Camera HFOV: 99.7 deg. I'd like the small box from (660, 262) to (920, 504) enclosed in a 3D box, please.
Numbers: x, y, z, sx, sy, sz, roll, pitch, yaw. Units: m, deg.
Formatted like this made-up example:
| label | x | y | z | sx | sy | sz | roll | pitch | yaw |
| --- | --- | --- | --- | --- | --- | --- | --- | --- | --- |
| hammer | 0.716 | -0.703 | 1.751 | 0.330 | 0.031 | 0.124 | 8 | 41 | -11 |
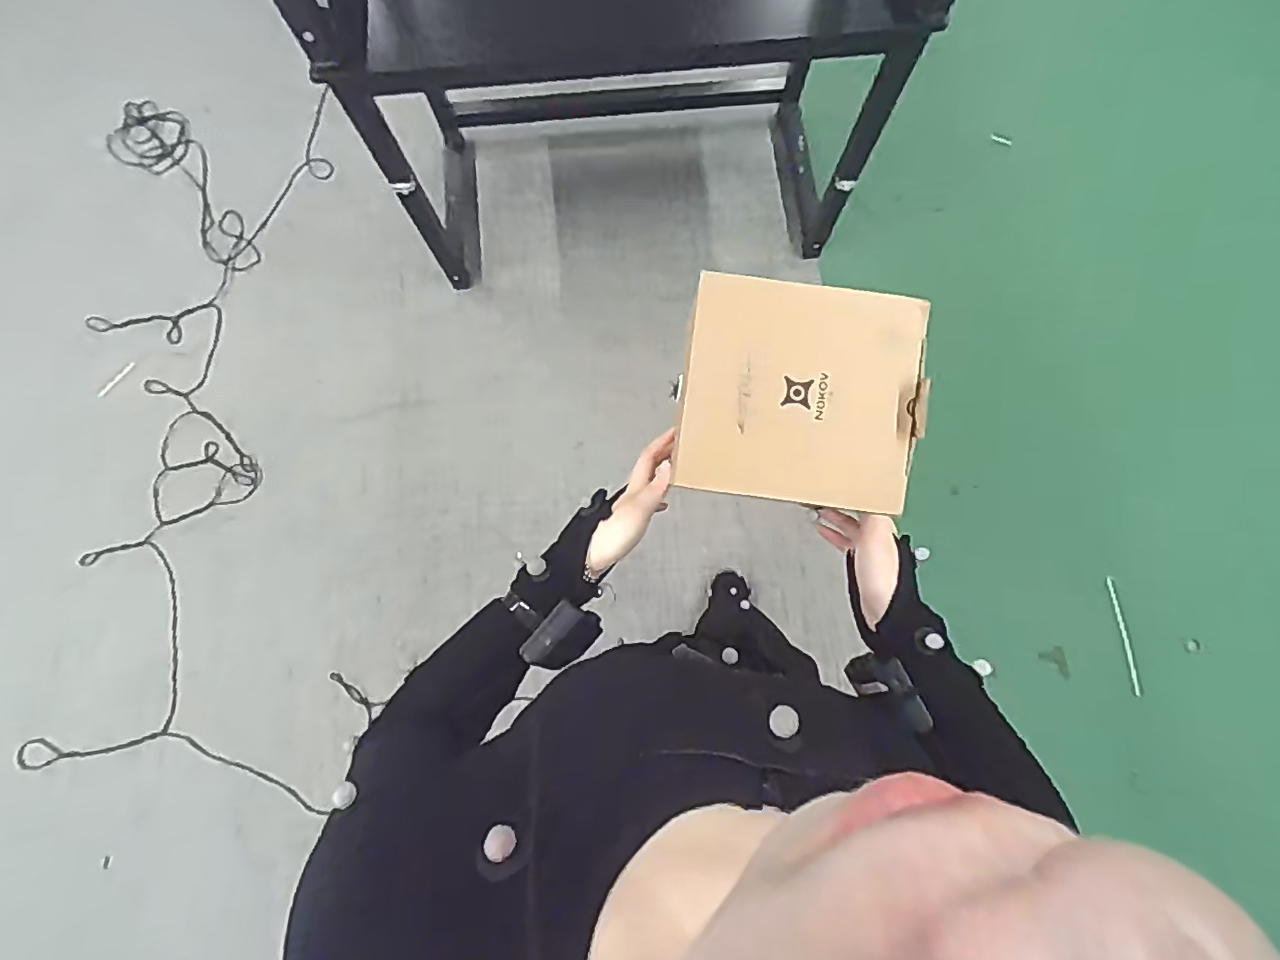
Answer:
| label | x | y | z | sx | sy | sz | roll | pitch | yaw |
| --- | --- | --- | --- | --- | --- | --- | --- | --- | --- |
| small box | 0.115 | -0.072 | 0.485 | 0.179 | 0.176 | 0.168 | 7 | 89 | 1 |
